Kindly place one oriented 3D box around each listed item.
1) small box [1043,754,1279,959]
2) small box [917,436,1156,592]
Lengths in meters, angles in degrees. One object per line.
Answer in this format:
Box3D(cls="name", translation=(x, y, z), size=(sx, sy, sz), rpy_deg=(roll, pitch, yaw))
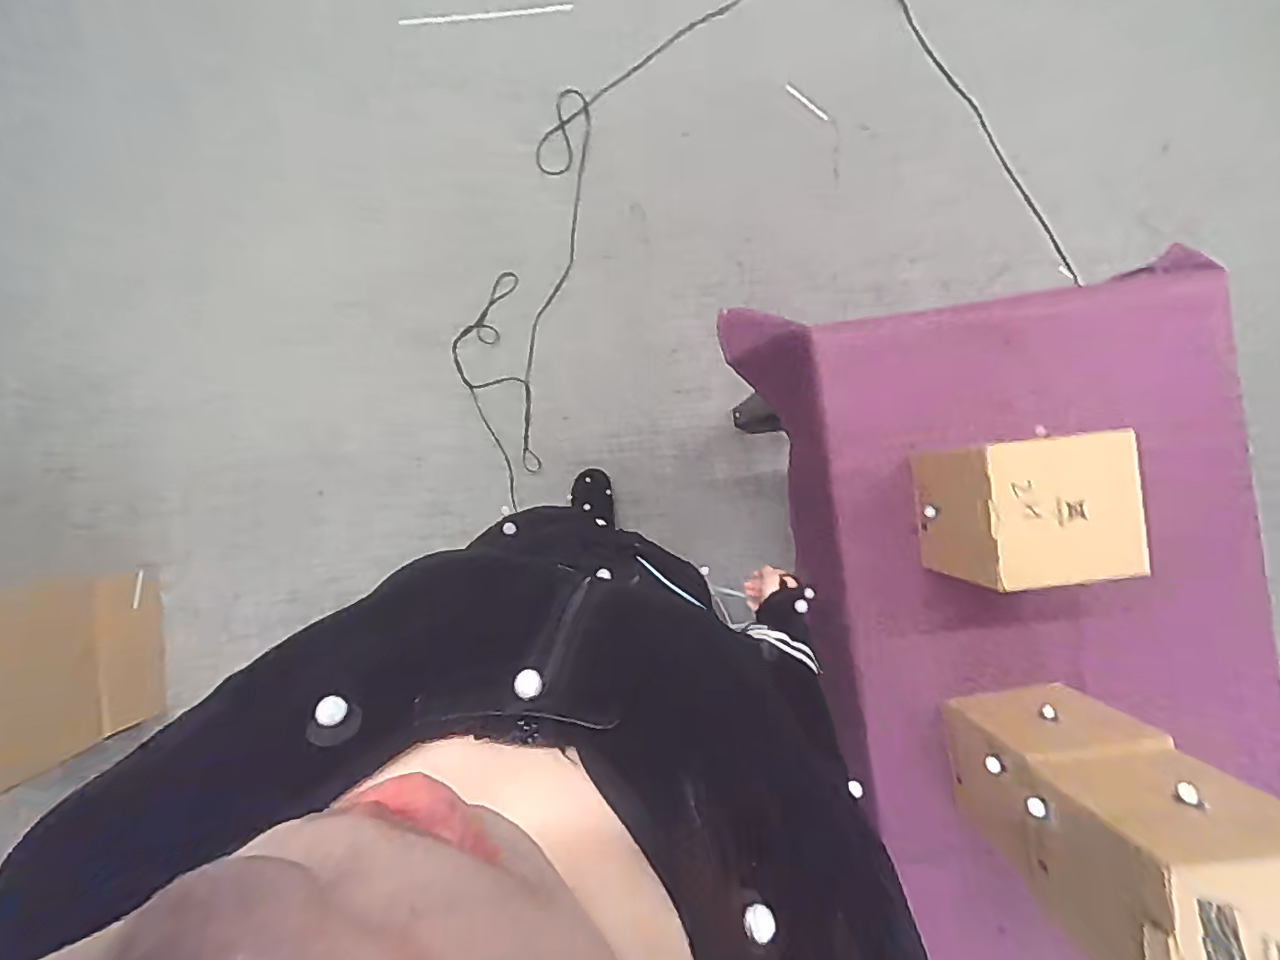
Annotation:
Box3D(cls="small box", translation=(0.528, 0.391, 0.521), size=(0.179, 0.176, 0.168), rpy_deg=(-6, 90, -2))
Box3D(cls="small box", translation=(0.486, 0.037, 0.687), size=(0.179, 0.176, 0.168), rpy_deg=(-6, 89, 0))
